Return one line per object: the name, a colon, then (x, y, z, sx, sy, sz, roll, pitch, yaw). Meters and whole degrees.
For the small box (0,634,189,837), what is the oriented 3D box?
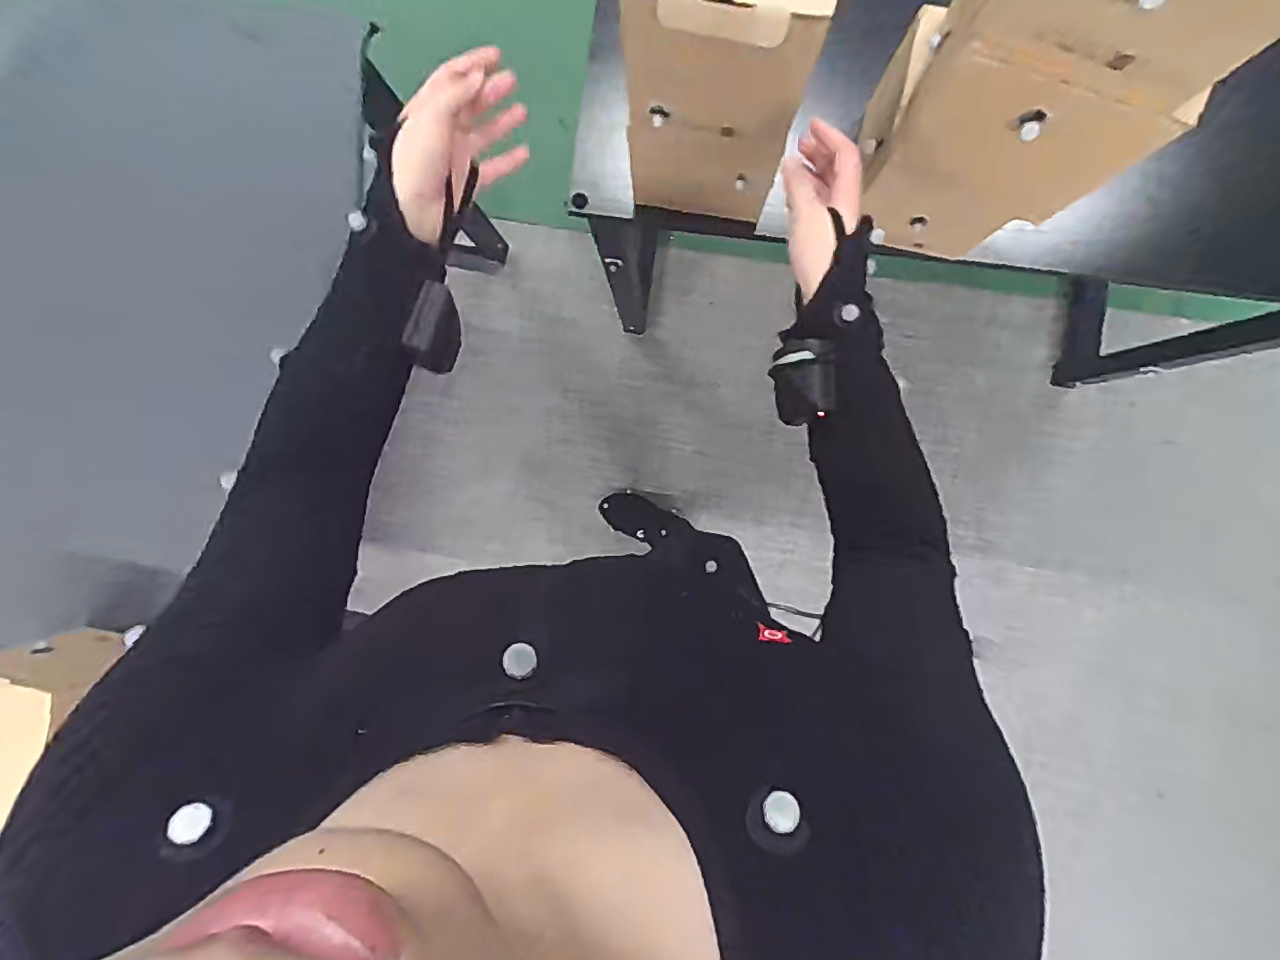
small box: (-0.752, 0.321, 0.718, 0.168, 0.176, 0.179, 9, 92, 6)

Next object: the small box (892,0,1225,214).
small box: (0.361, -0.363, 0.473, 0.179, 0.176, 0.168, 21, 93, 3)

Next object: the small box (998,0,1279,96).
small box: (0.348, -0.374, 0.309, 0.168, 0.176, 0.179, 24, 94, 3)

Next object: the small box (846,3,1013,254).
small box: (0.360, -0.391, 0.634, 0.168, 0.176, 0.179, 13, 92, 2)

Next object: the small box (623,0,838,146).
small box: (0.087, -0.439, 0.483, 0.168, 0.176, 0.179, 12, 91, 2)
